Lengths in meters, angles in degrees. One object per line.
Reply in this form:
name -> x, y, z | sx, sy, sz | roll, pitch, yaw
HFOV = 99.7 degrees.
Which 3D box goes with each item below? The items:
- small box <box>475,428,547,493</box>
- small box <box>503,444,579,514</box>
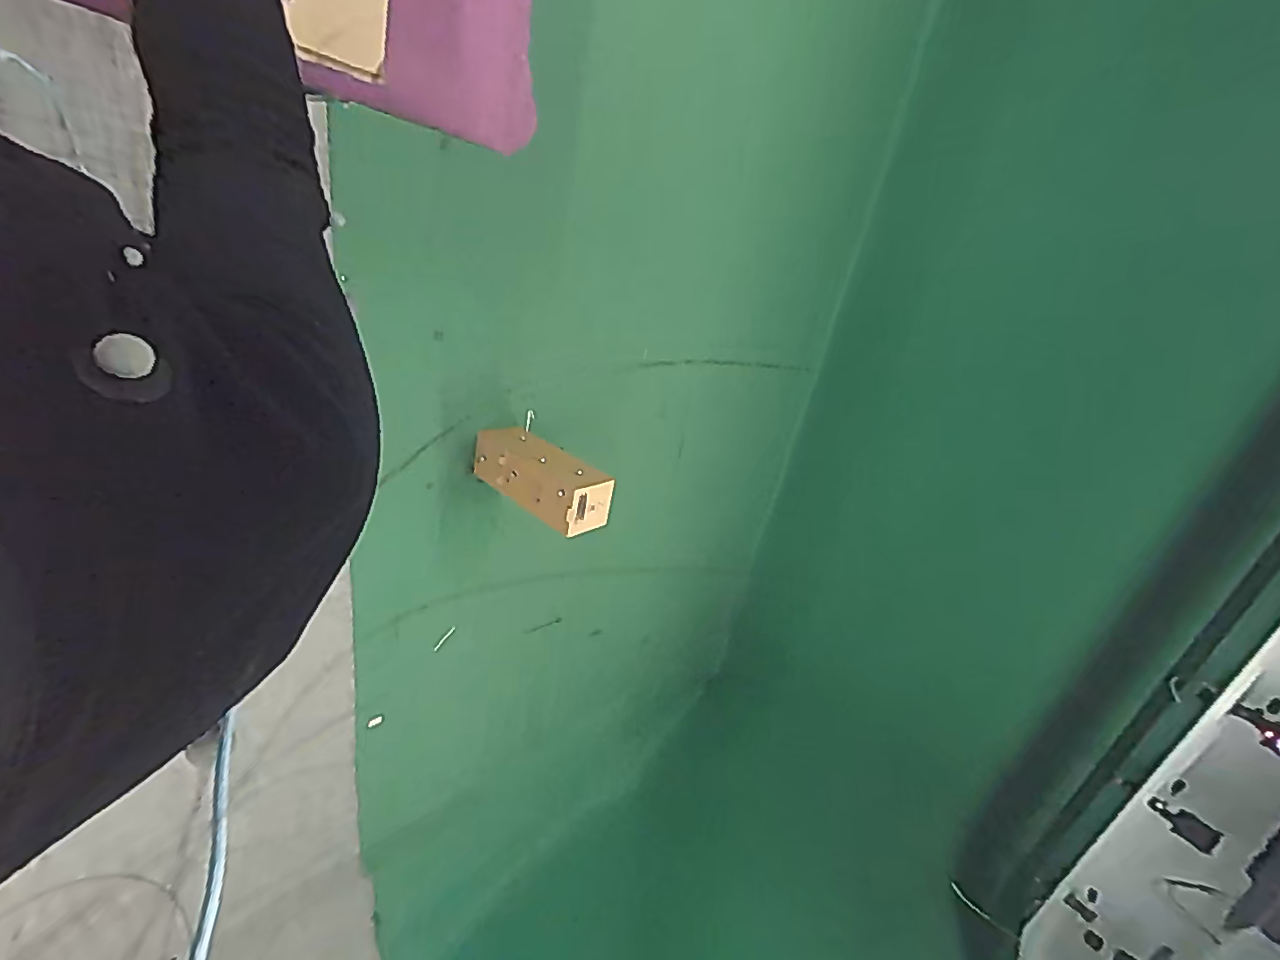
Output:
small box -> -0.453, -0.075, 1.899 | 0.179, 0.176, 0.168 | -14, 124, -48
small box -> -0.333, -0.012, 1.809 | 0.179, 0.176, 0.168 | -16, 126, -47
